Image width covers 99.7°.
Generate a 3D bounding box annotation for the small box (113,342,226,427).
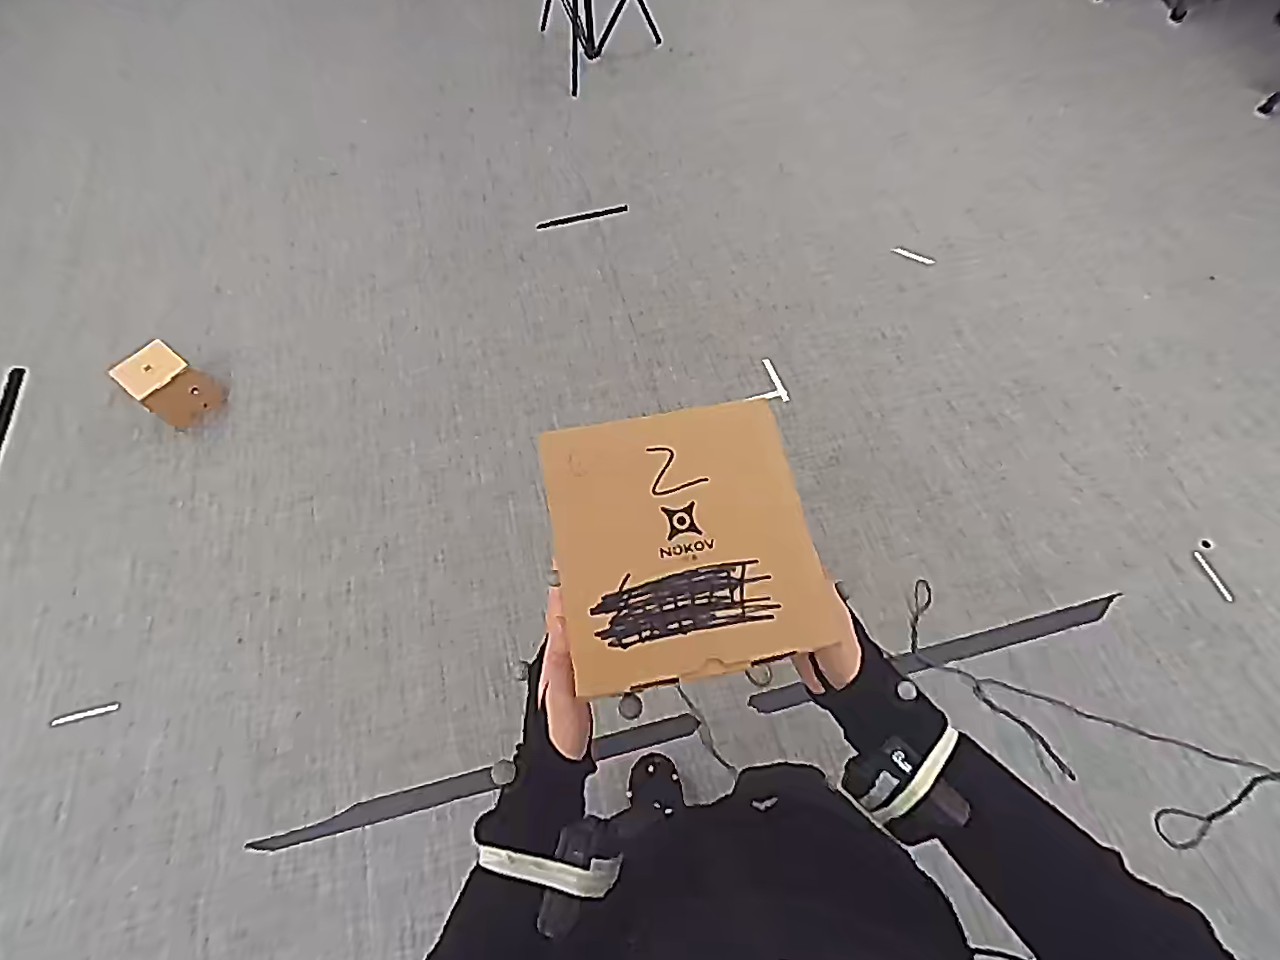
[{"bbox_3d":[-1.454,-0.289,1.685,0.179,0.176,0.168,34,68,17],"label":"small box"}]
